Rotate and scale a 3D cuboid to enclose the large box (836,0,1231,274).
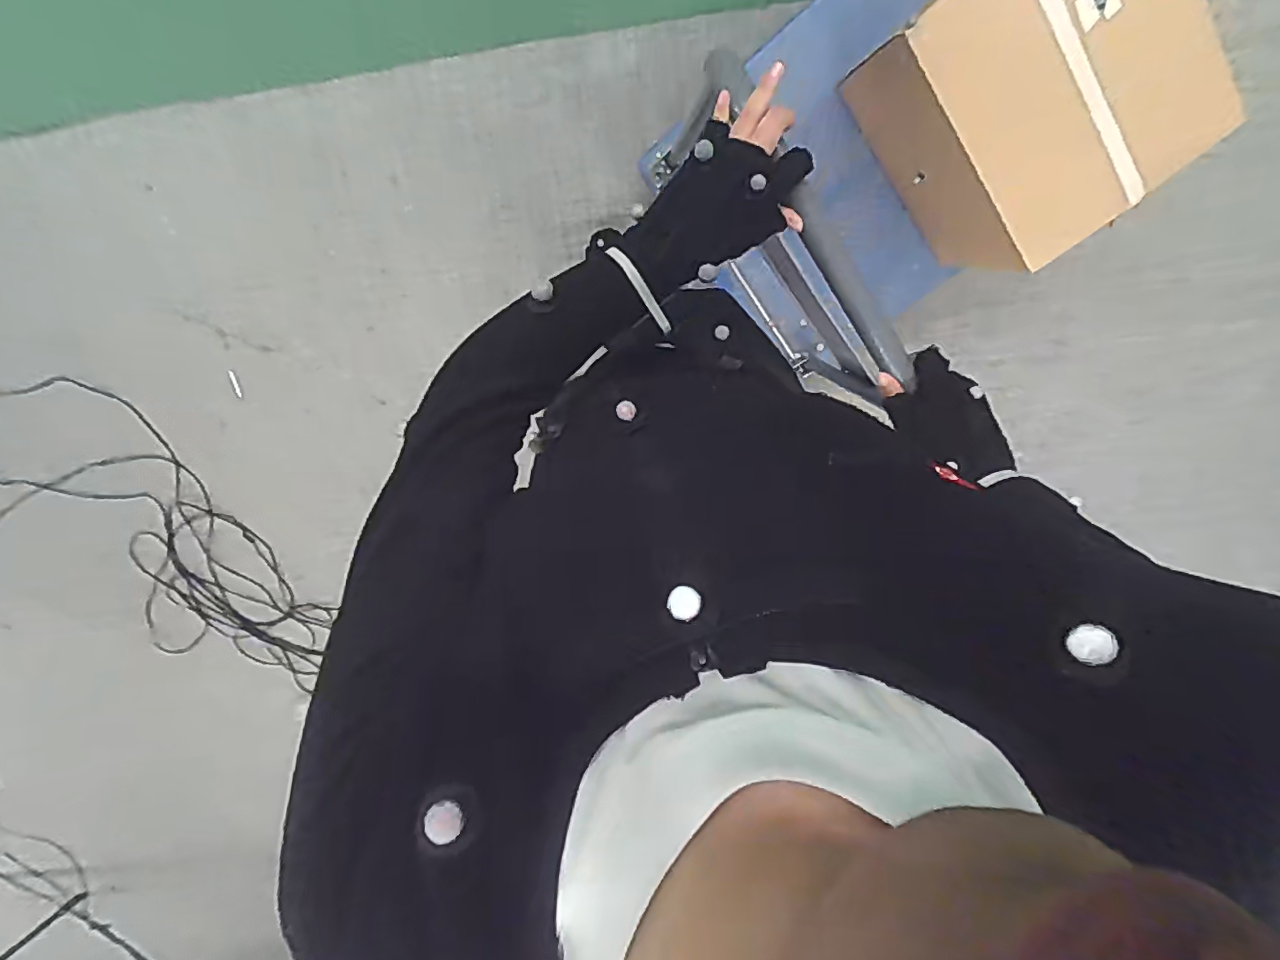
[{"bbox_3d":[0.593,-0.604,0.882,0.320,0.320,0.408,-37,106,16],"label":"large box"}]
